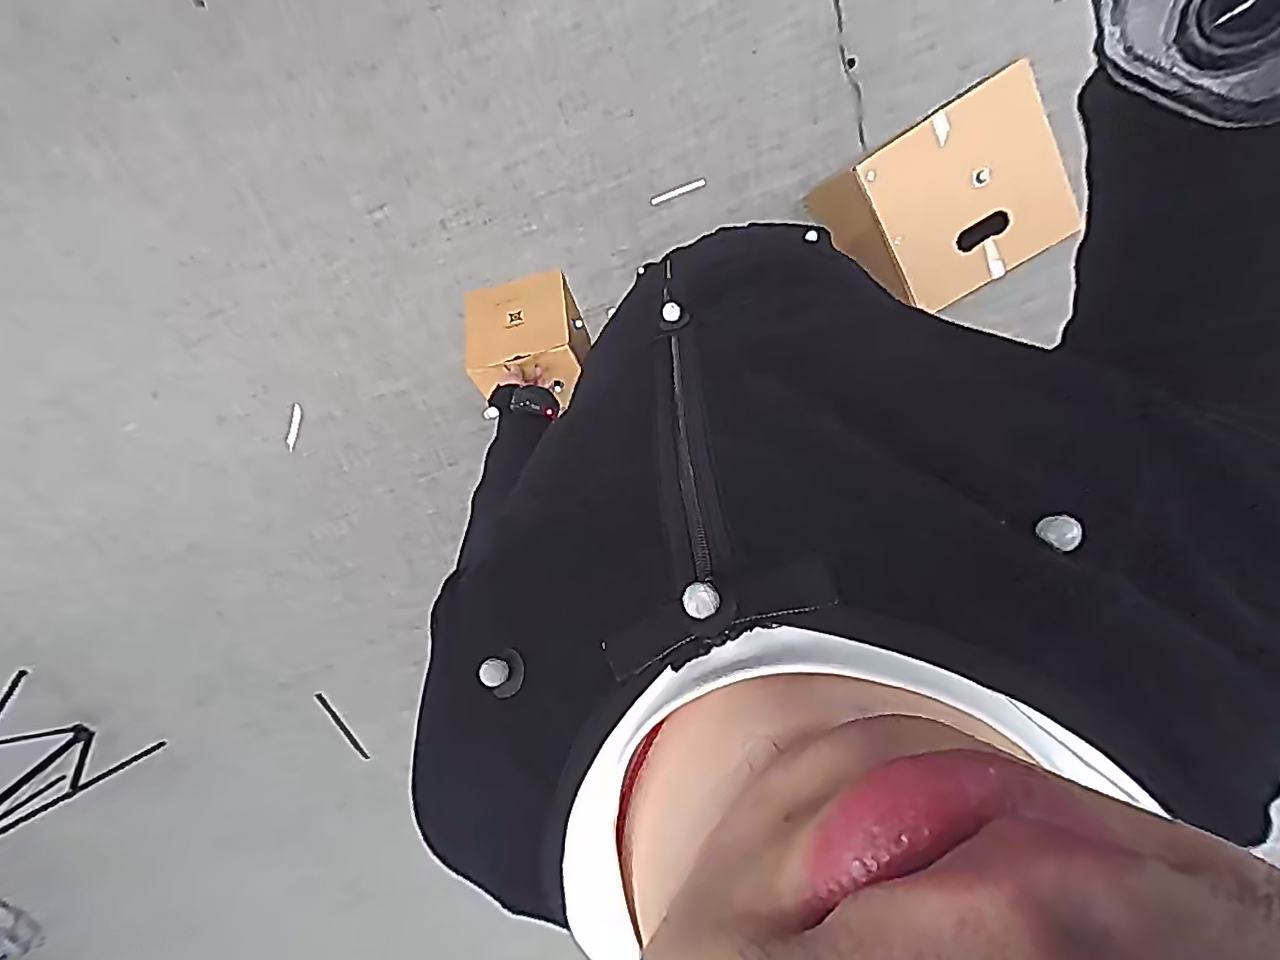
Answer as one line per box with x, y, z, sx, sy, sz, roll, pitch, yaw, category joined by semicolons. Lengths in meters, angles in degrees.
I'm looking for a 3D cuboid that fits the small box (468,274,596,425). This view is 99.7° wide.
-0.180;-0.213;0.930;0.168;0.179;0.176;-13;149;5;small box
